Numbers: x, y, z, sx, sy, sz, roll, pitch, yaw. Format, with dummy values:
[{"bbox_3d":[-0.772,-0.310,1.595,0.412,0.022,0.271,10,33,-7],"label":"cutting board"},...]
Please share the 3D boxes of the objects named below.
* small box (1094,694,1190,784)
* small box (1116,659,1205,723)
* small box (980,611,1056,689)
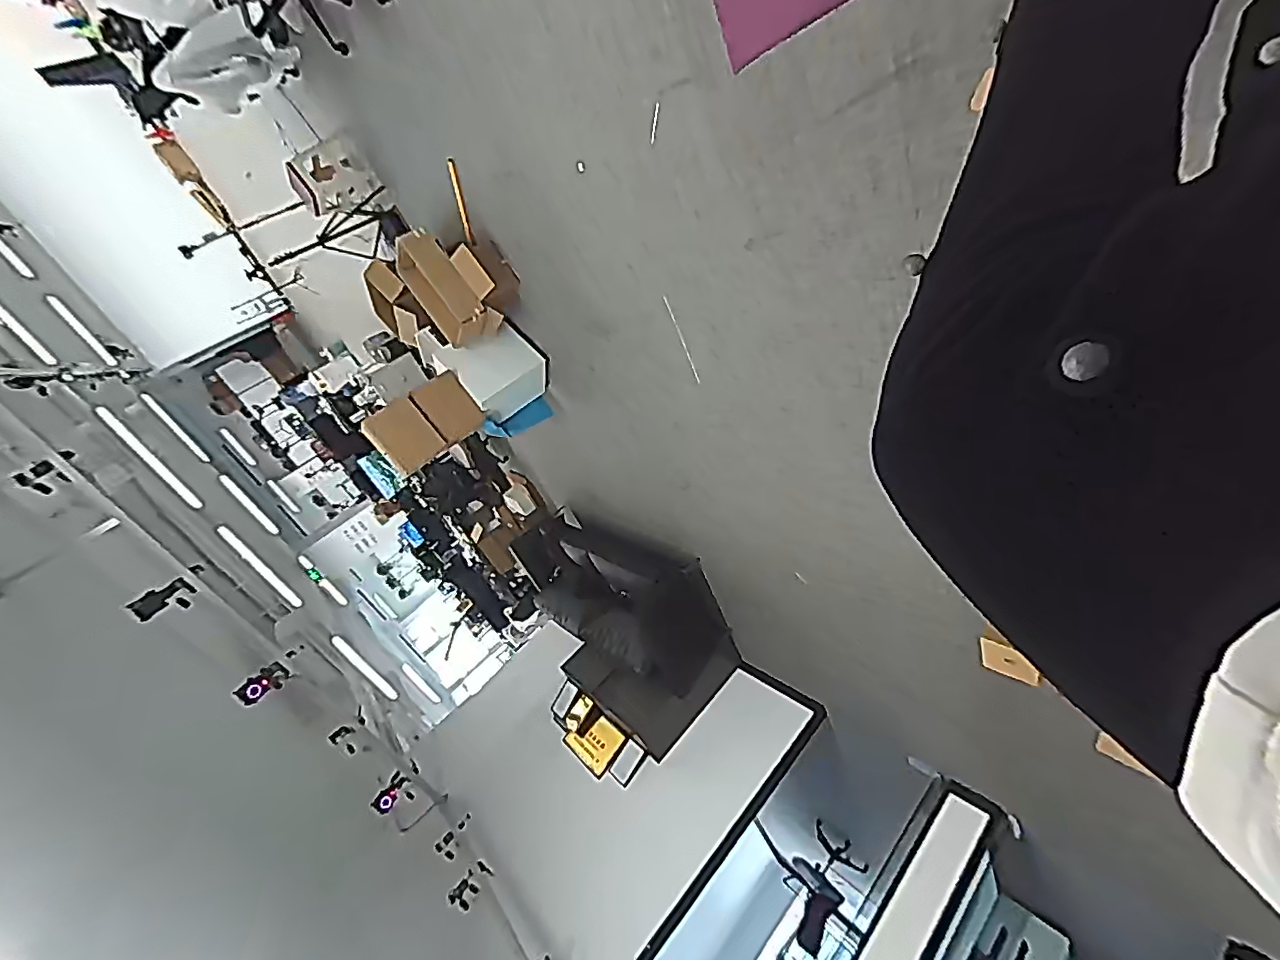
[{"bbox_3d":[1.615,0.823,1.742,0.179,0.176,0.168,22,145,44],"label":"small box"},{"bbox_3d":[1.734,0.731,1.812,0.179,0.176,0.168,23,145,44],"label":"small box"},{"bbox_3d":[1.329,0.588,1.900,0.179,0.176,0.168,14,137,50],"label":"small box"}]
